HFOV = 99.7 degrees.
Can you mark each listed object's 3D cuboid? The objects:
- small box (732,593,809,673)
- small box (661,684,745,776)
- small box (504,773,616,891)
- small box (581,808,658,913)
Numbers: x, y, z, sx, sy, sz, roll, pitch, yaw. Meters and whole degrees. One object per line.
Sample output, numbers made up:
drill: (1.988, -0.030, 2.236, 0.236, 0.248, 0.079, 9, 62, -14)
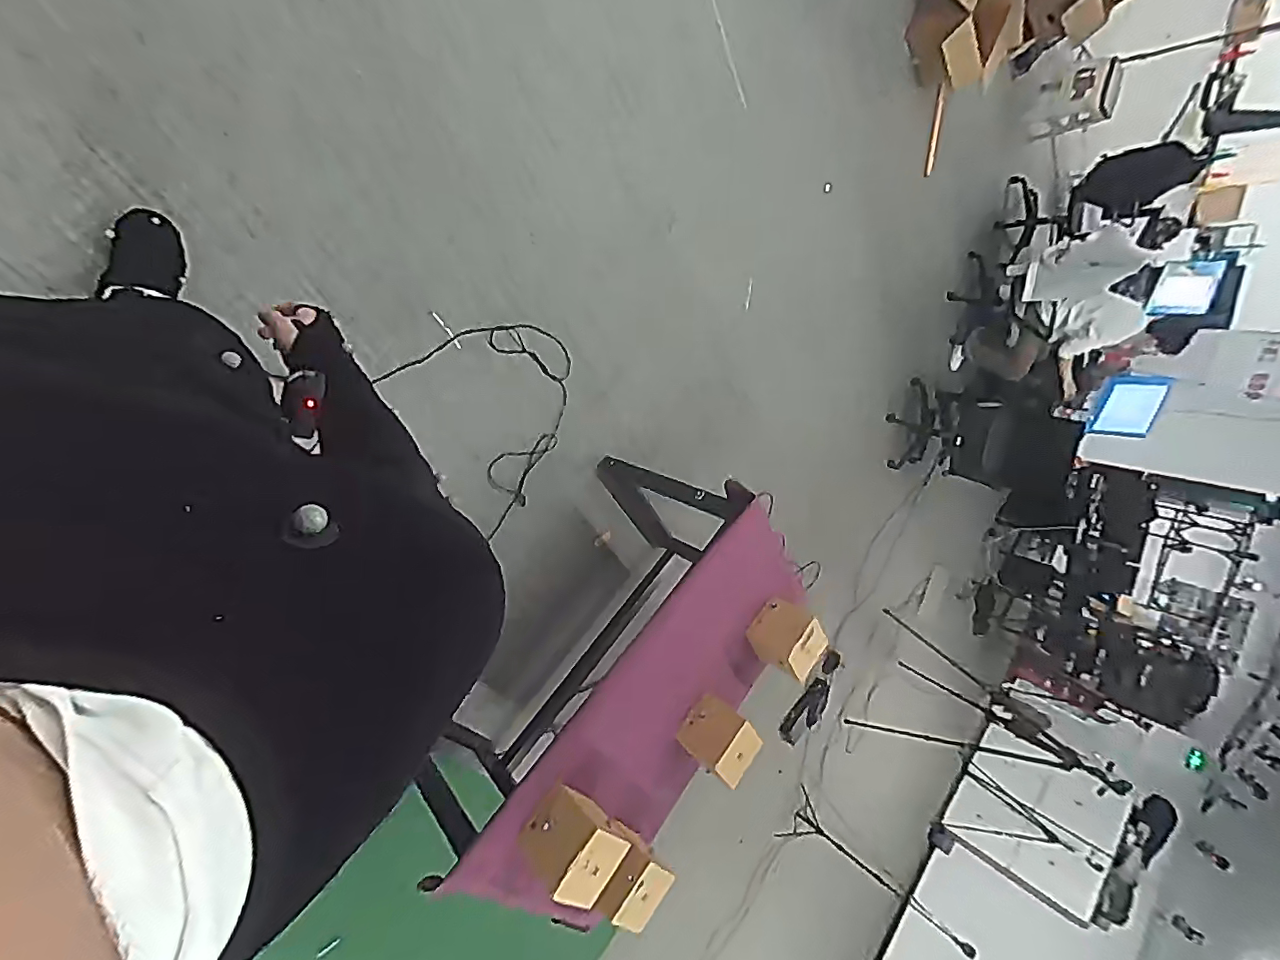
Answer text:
small box: (0.431, 0.499, 1.795, 0.168, 0.176, 0.179, -47, 132, -19)
small box: (0.195, 0.771, 1.682, 0.168, 0.176, 0.179, -47, 131, -21)
small box: (-0.198, 0.863, 1.335, 0.168, 0.176, 0.179, -50, 133, -19)
small box: (-0.084, 1.070, 1.529, 0.168, 0.176, 0.179, -48, 133, -20)
